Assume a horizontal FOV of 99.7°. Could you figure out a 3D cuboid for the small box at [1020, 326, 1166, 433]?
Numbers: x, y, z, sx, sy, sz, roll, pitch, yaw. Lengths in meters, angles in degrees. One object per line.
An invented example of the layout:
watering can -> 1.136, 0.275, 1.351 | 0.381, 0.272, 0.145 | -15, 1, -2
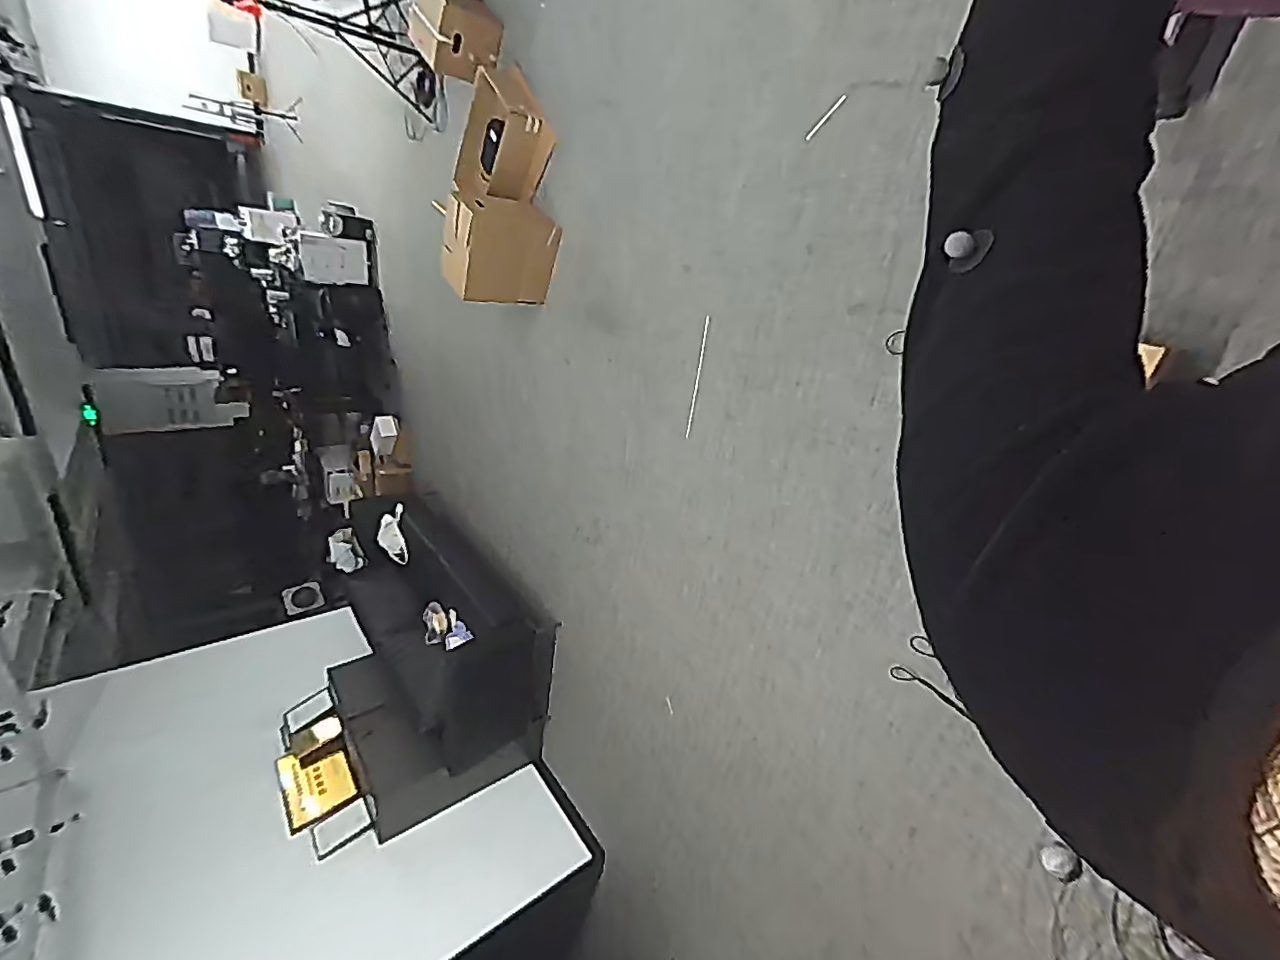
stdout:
small box -> 0.949, -0.214, 1.132 | 0.168, 0.176, 0.179 | 35, 123, 41
